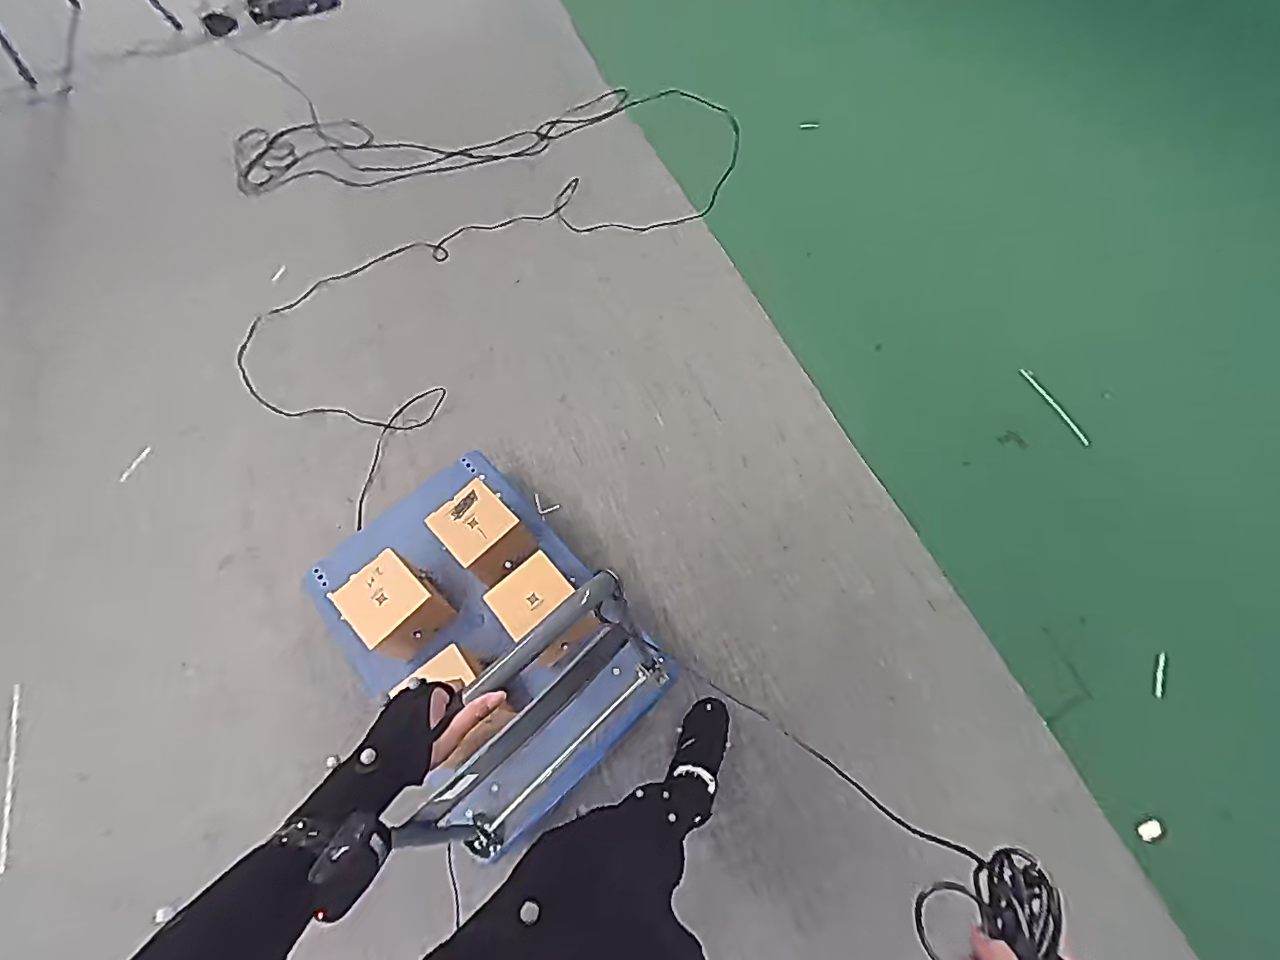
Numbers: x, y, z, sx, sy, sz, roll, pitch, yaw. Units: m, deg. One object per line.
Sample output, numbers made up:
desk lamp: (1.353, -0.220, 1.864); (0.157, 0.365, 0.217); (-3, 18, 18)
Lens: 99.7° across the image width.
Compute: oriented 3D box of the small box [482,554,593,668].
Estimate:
small box: (-0.230, 0.307, 1.246); (0.168, 0.176, 0.179); (-39, 66, -15)

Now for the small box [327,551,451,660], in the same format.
small box: (-0.582, 0.304, 1.276); (0.179, 0.176, 0.168); (39, 71, 22)

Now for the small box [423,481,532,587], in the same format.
small box: (-0.398, 0.140, 1.348); (0.168, 0.176, 0.179); (-42, 67, -16)
